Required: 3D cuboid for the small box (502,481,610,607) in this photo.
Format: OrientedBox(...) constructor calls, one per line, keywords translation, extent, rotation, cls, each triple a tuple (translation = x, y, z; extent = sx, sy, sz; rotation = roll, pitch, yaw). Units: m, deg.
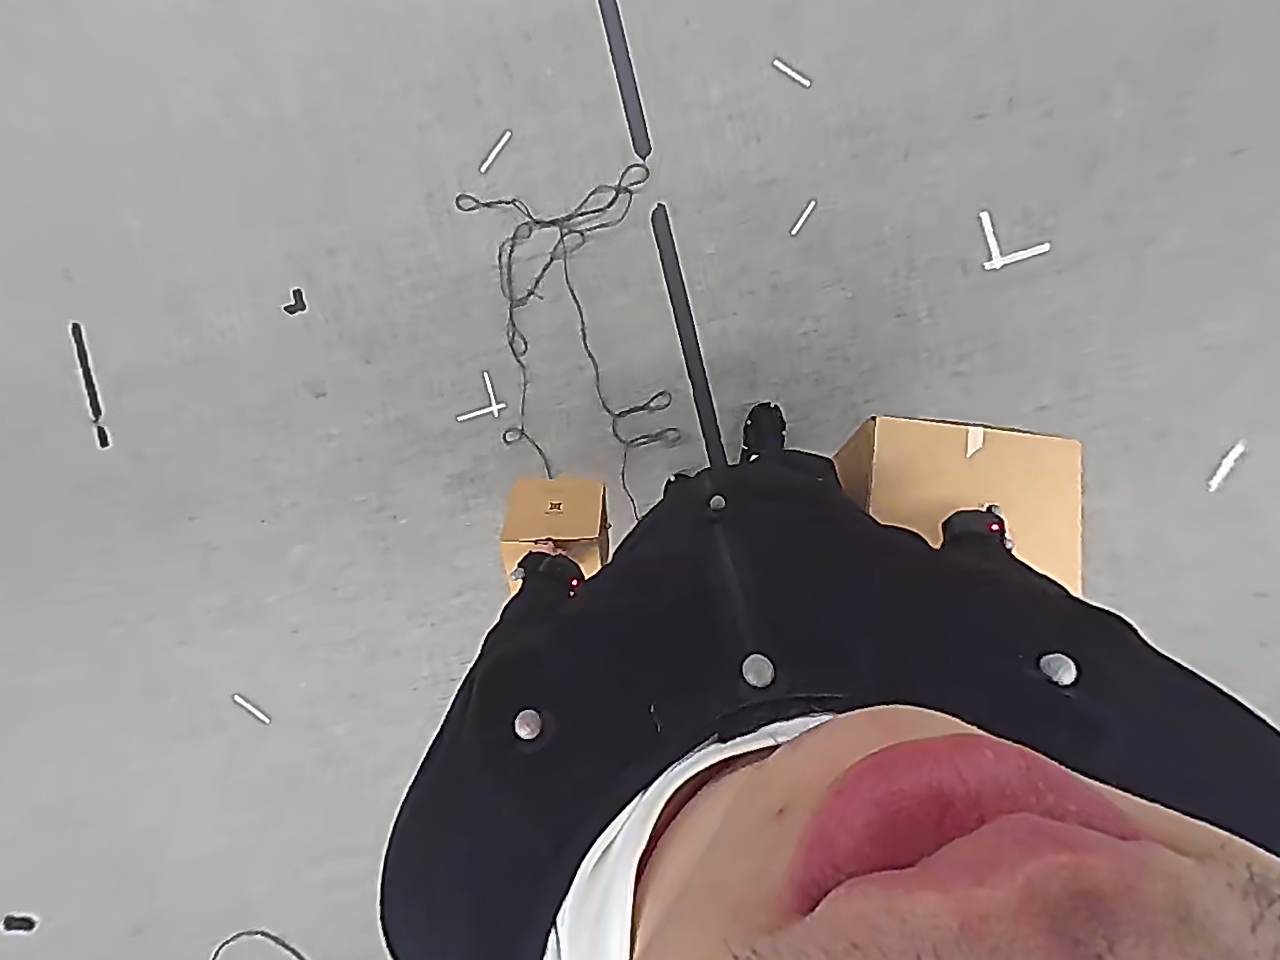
OrientedBox(translation=(-0.144, 0.120, 1.001), extent=(0.168, 0.179, 0.176), rotation=(-1, 124, 1), cls="small box")
